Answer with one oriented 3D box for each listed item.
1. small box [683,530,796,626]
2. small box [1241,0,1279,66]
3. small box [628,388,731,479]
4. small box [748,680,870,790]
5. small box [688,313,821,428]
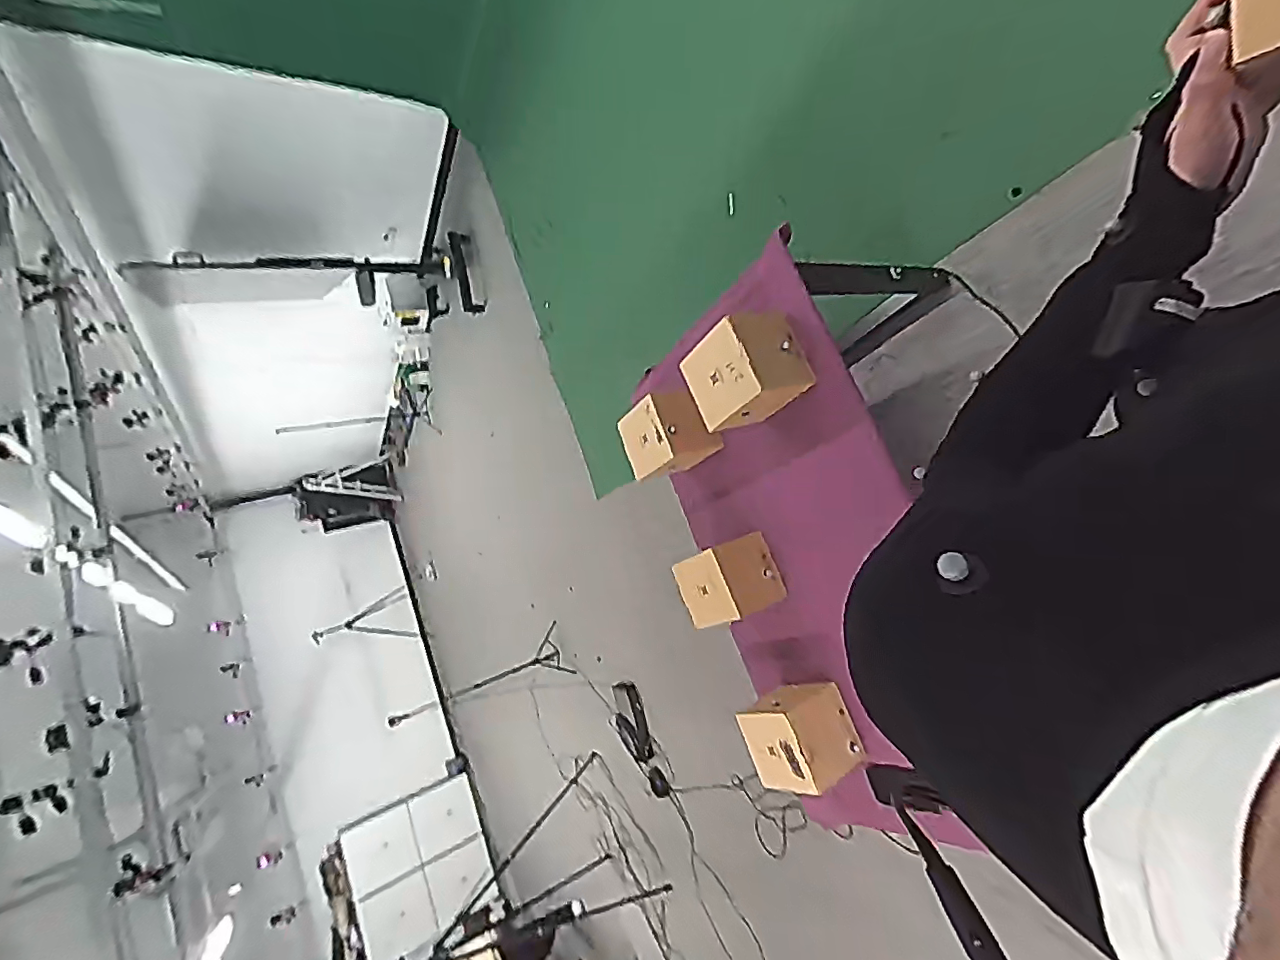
[{"bbox_3d":[0.239,0.235,1.301,0.179,0.176,0.168,-39,70,54],"label":"small box"},{"bbox_3d":[0.452,-0.364,0.291,0.168,0.176,0.179,0,110,52],"label":"small box"},{"bbox_3d":[0.099,-0.119,1.378,0.179,0.176,0.168,-37,72,56],"label":"small box"},{"bbox_3d":[0.381,0.558,1.202,0.179,0.176,0.168,-40,68,55],"label":"small box"},{"bbox_3d":[0.237,-0.227,1.122,0.179,0.176,0.168,-40,70,54],"label":"small box"}]
